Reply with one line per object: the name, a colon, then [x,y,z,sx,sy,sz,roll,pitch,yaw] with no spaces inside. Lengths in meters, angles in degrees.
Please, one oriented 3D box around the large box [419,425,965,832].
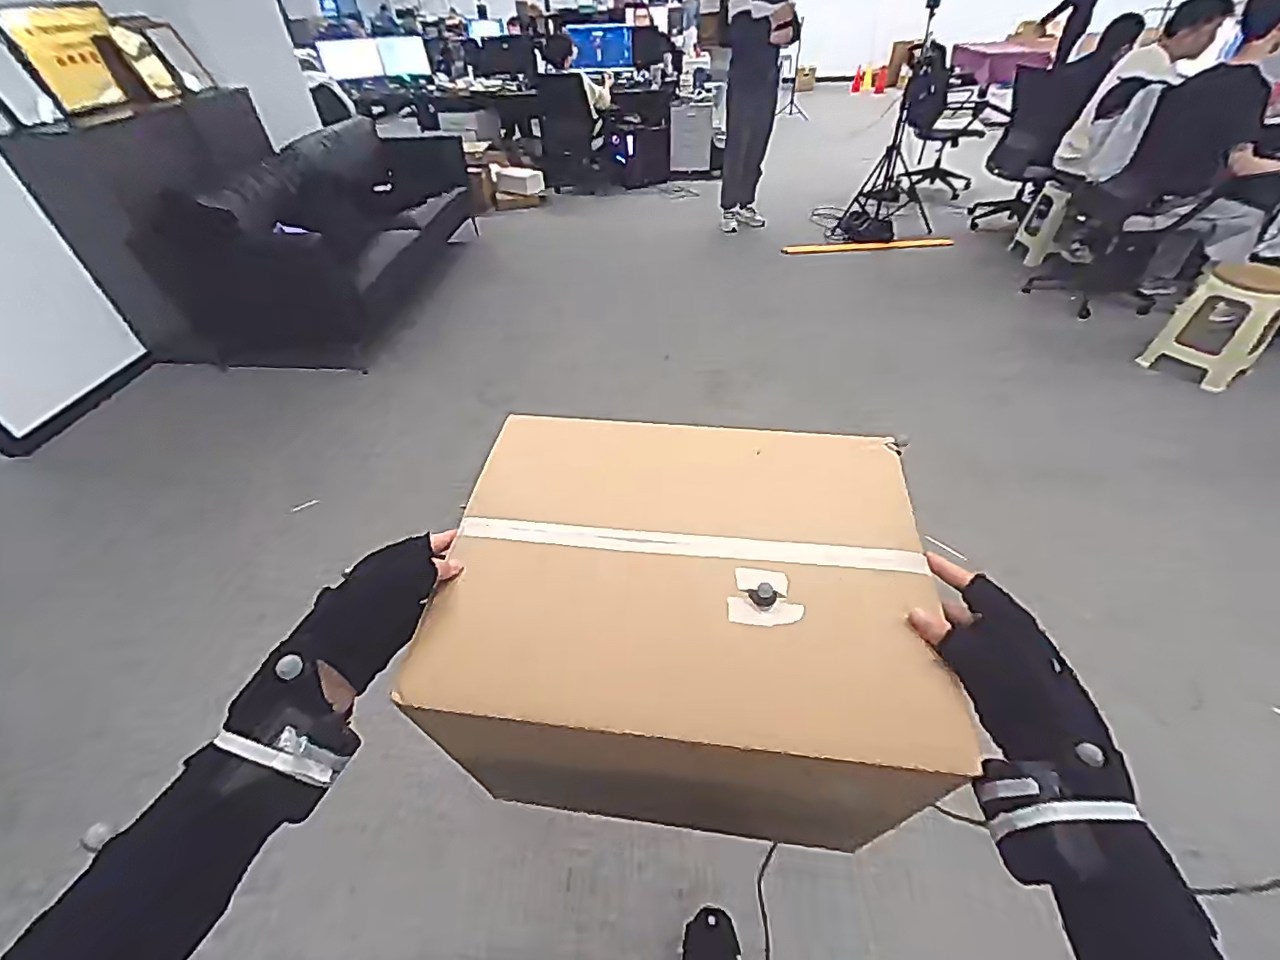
large box: [0.048,0.161,0.596,0.408,0.320,0.320,4,49,6]
